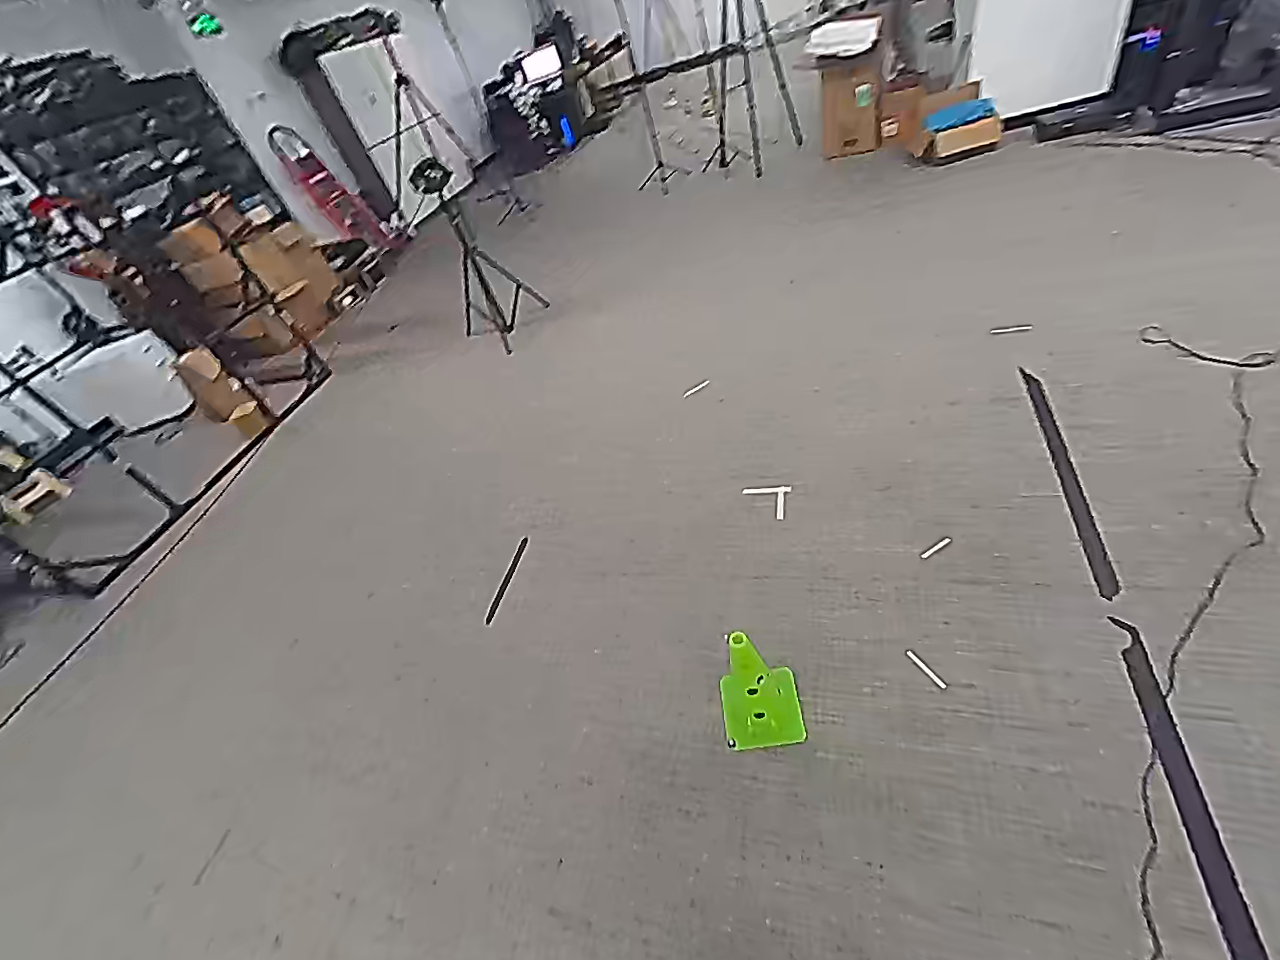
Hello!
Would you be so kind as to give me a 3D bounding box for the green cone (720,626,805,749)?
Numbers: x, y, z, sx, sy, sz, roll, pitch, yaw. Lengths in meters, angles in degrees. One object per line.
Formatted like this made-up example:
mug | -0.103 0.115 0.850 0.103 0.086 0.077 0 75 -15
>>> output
green cone | 0.271 0.475 1.317 0.200 0.368 0.202 -13 40 10
